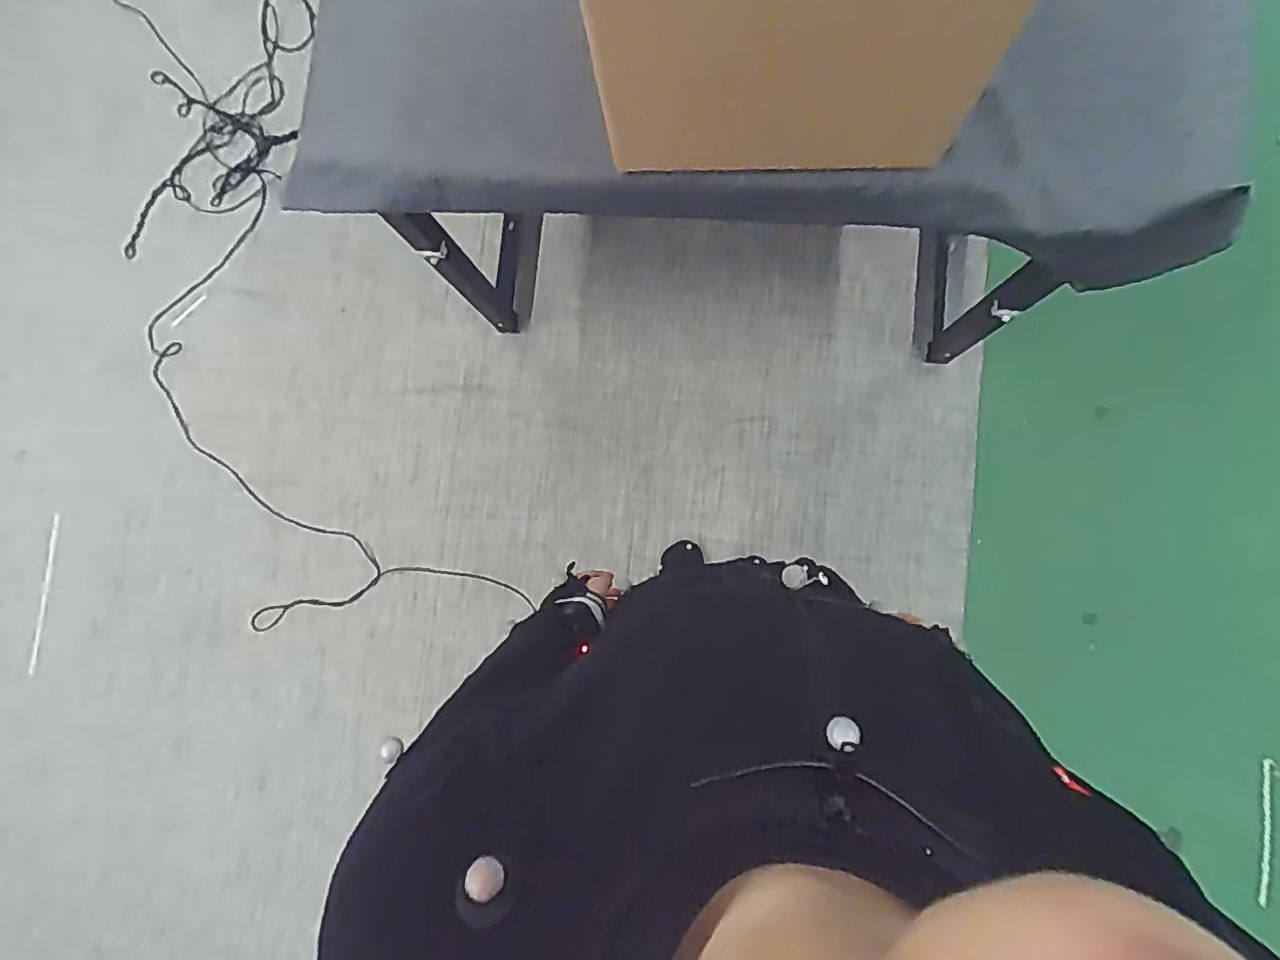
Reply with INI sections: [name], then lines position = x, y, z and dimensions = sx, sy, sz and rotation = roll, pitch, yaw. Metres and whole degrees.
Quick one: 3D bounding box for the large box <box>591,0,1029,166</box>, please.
[large box]
position = 0.160, -0.572, 0.562
dimensions = 0.408, 0.320, 0.320
rotation = 2, 84, 5
